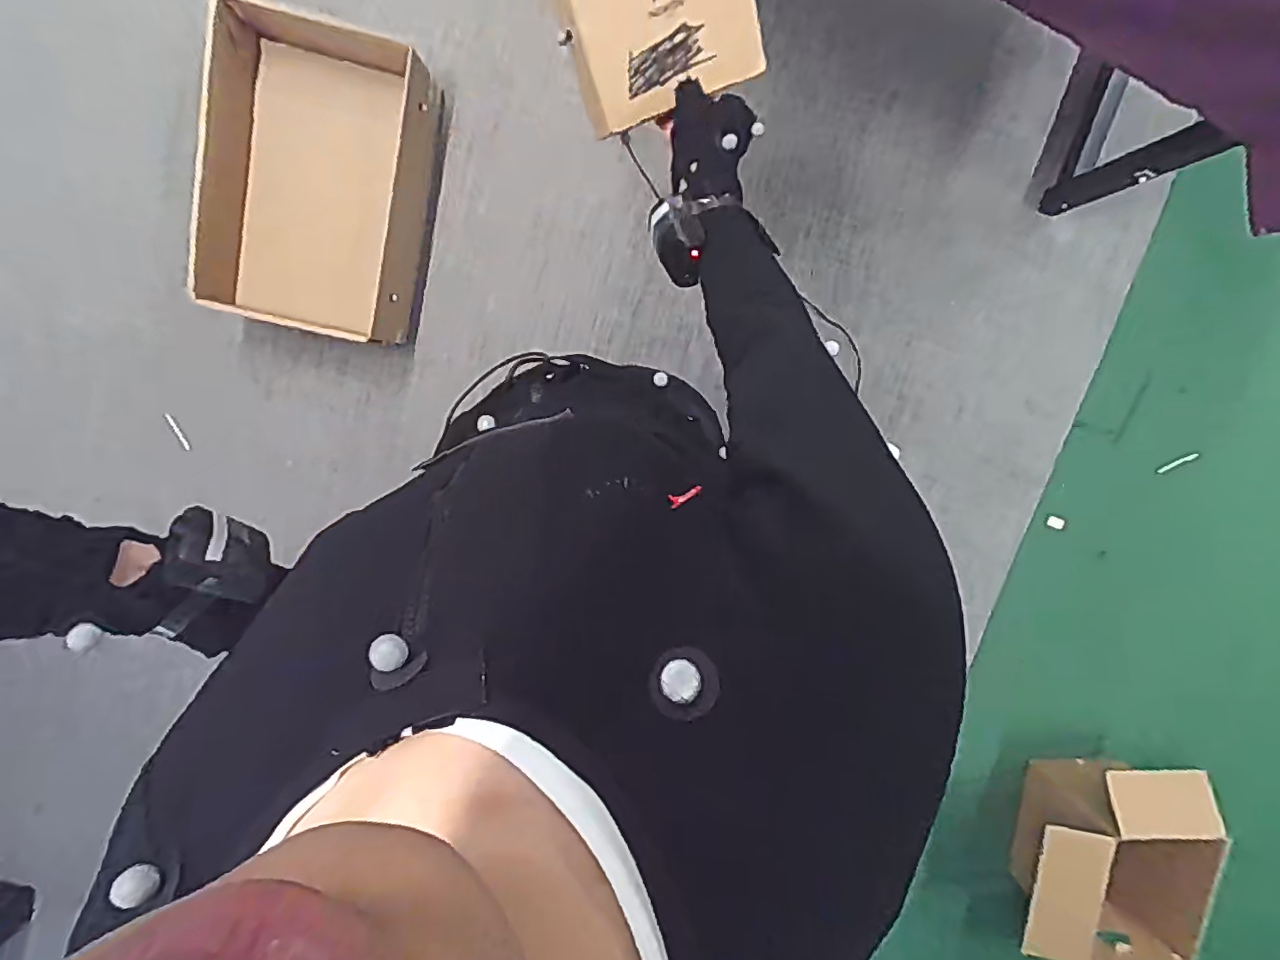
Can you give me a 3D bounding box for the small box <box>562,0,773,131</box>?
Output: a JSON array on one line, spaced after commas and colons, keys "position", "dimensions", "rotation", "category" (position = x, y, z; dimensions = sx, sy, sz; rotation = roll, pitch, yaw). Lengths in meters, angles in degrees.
[{"position": [0.017, -0.481, 0.551], "dimensions": [0.168, 0.176, 0.179], "rotation": [-20, 121, 2], "category": "small box"}]
